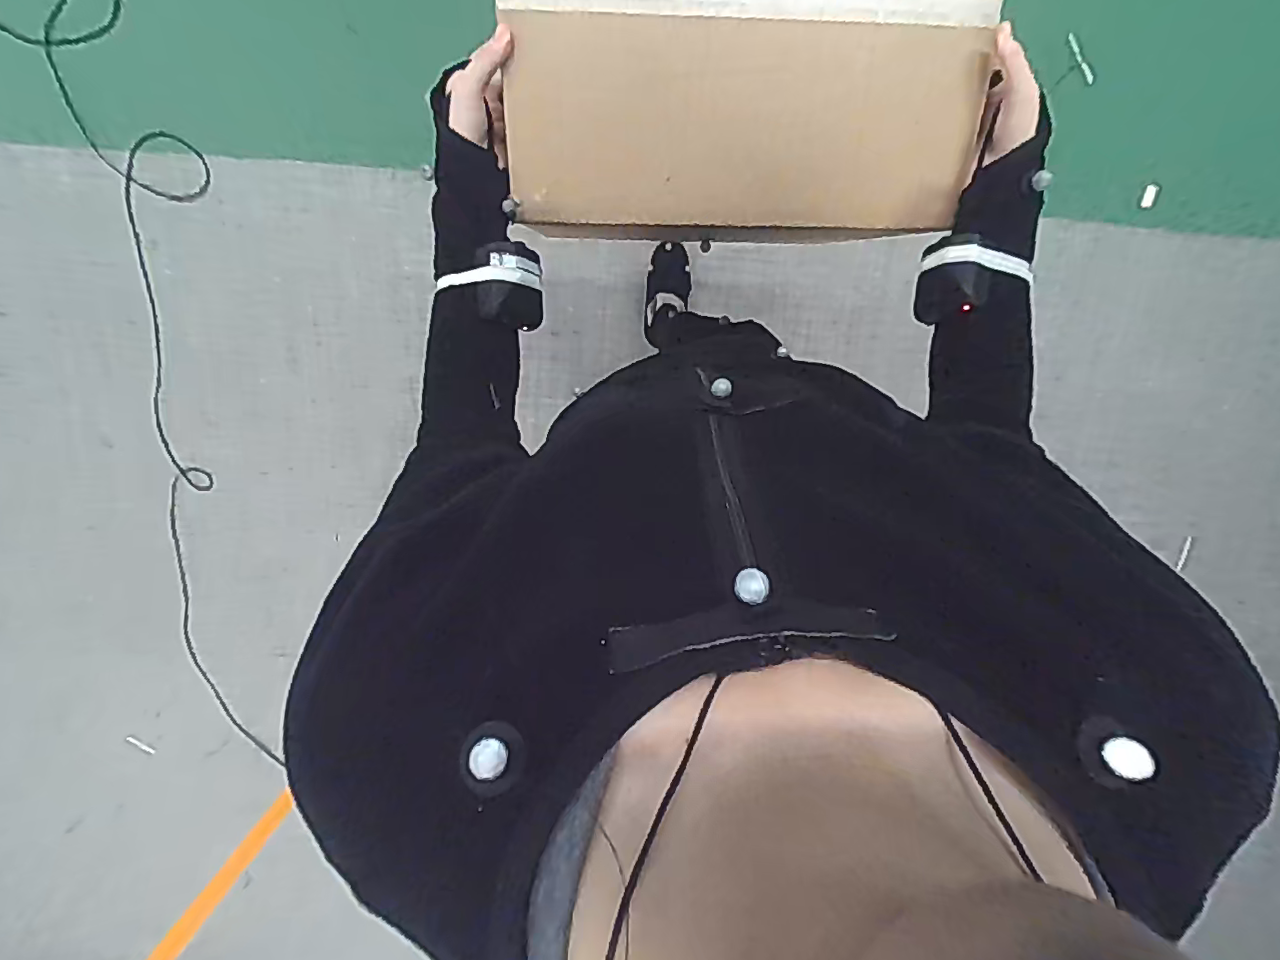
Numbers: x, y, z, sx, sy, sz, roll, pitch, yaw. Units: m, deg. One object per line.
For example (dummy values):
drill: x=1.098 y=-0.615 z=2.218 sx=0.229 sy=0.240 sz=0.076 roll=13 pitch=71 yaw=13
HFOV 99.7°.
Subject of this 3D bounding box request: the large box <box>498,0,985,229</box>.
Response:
large box: x=0.078 y=-0.440 z=0.572 sx=0.408 sy=0.320 sz=0.320 roll=-1 pitch=112 yaw=-3
